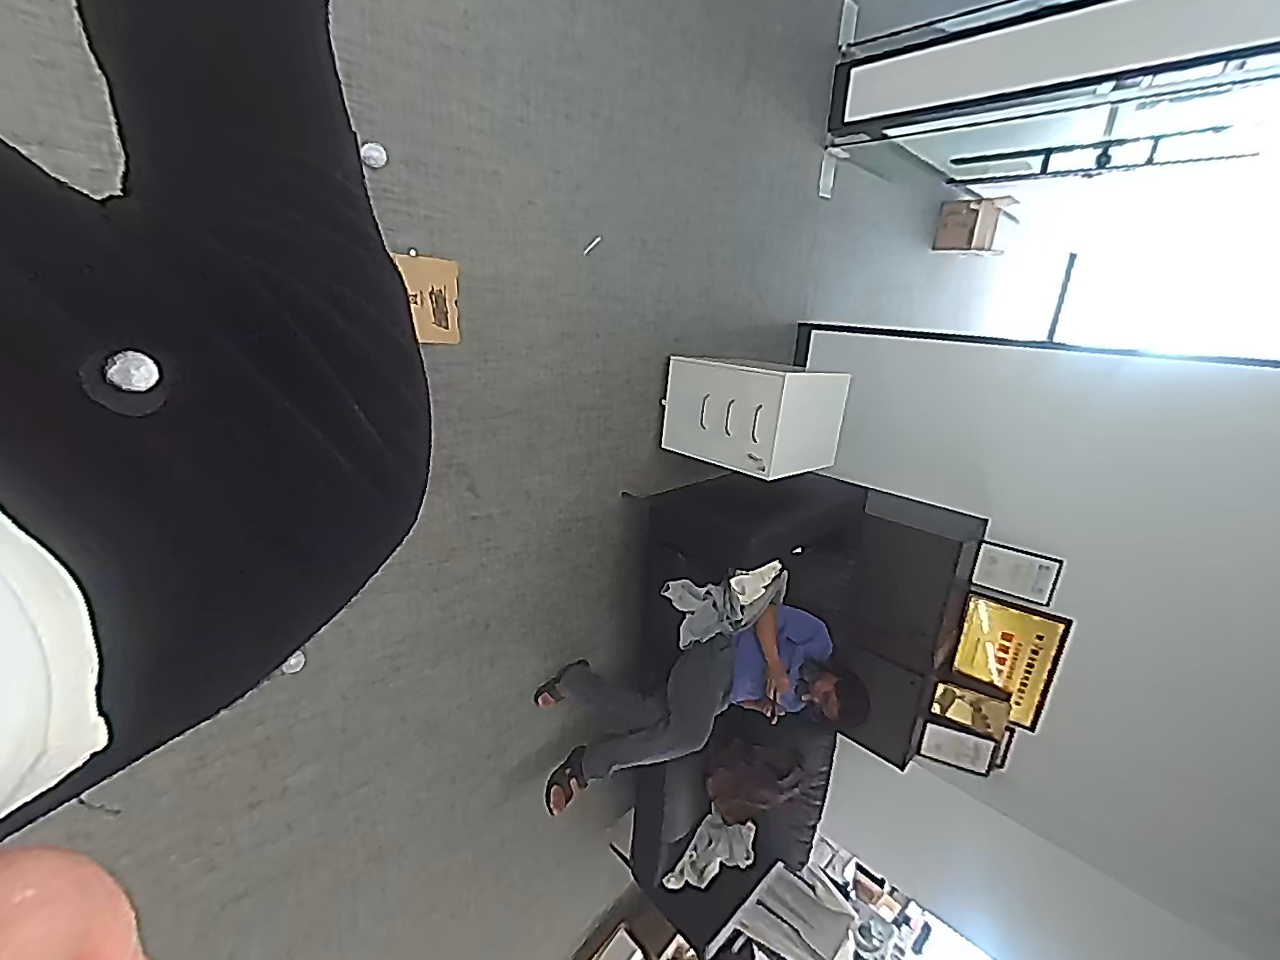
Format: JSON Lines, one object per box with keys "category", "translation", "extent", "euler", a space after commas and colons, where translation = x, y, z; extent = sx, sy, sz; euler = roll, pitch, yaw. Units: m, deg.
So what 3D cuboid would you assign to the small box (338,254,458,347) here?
{"category": "small box", "translation": [-0.498, -0.369, 1.118], "extent": [0.179, 0.176, 0.168], "euler": [-12, 113, -43]}
